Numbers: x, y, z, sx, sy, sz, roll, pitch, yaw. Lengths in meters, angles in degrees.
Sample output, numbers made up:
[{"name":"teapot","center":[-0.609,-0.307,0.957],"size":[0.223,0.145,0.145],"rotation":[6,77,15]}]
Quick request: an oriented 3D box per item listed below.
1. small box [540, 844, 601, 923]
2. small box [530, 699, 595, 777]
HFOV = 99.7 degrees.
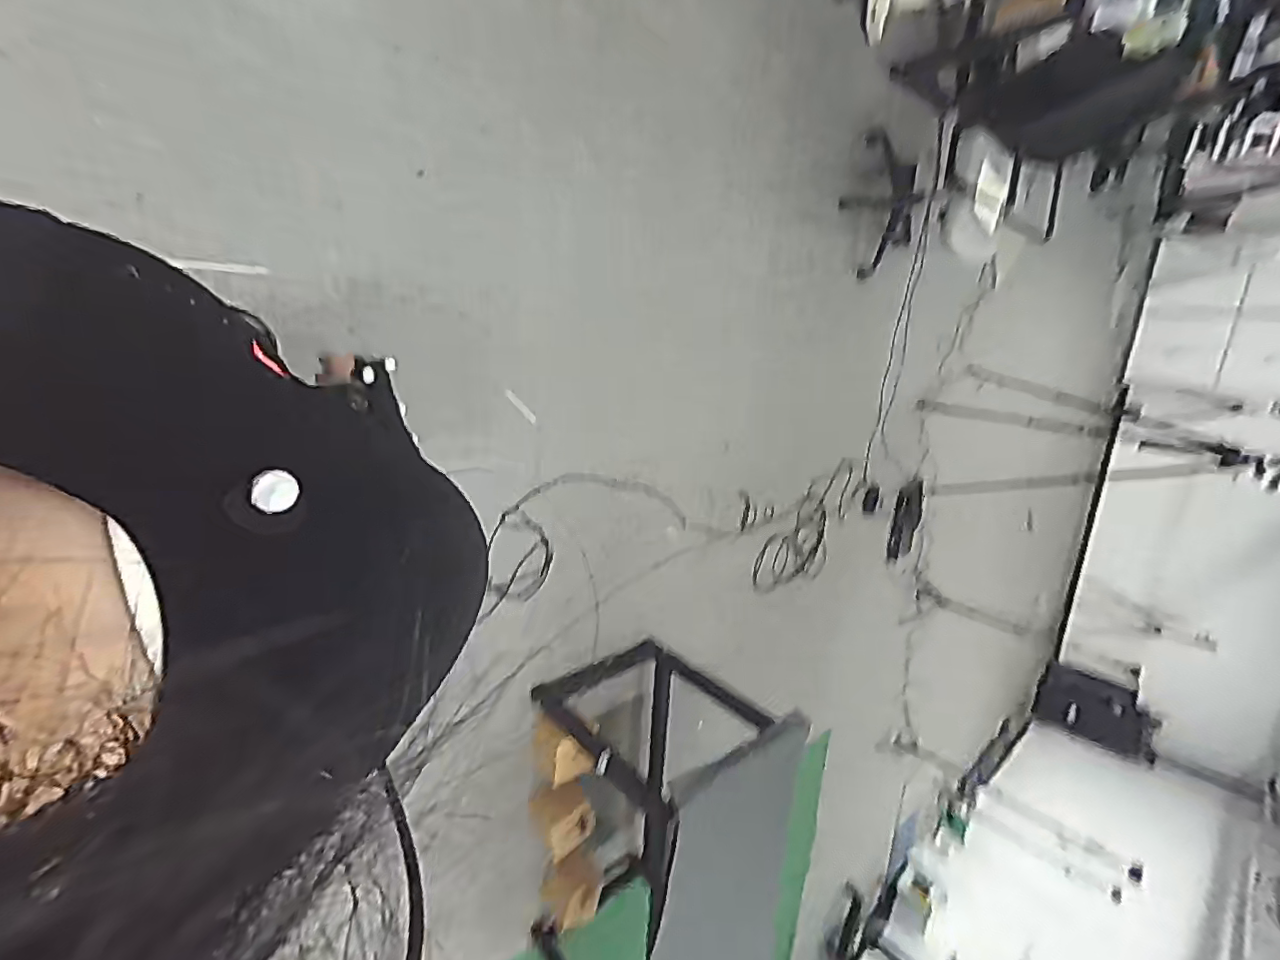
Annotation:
[{"name":"small box","center":[-0.286,1.619,2.191],"size":[0.168,0.176,0.179],"rotation":[7,99,-42]},{"name":"small box","center":[-0.290,0.941,1.990],"size":[0.179,0.176,0.168],"rotation":[-4,105,-41]}]
